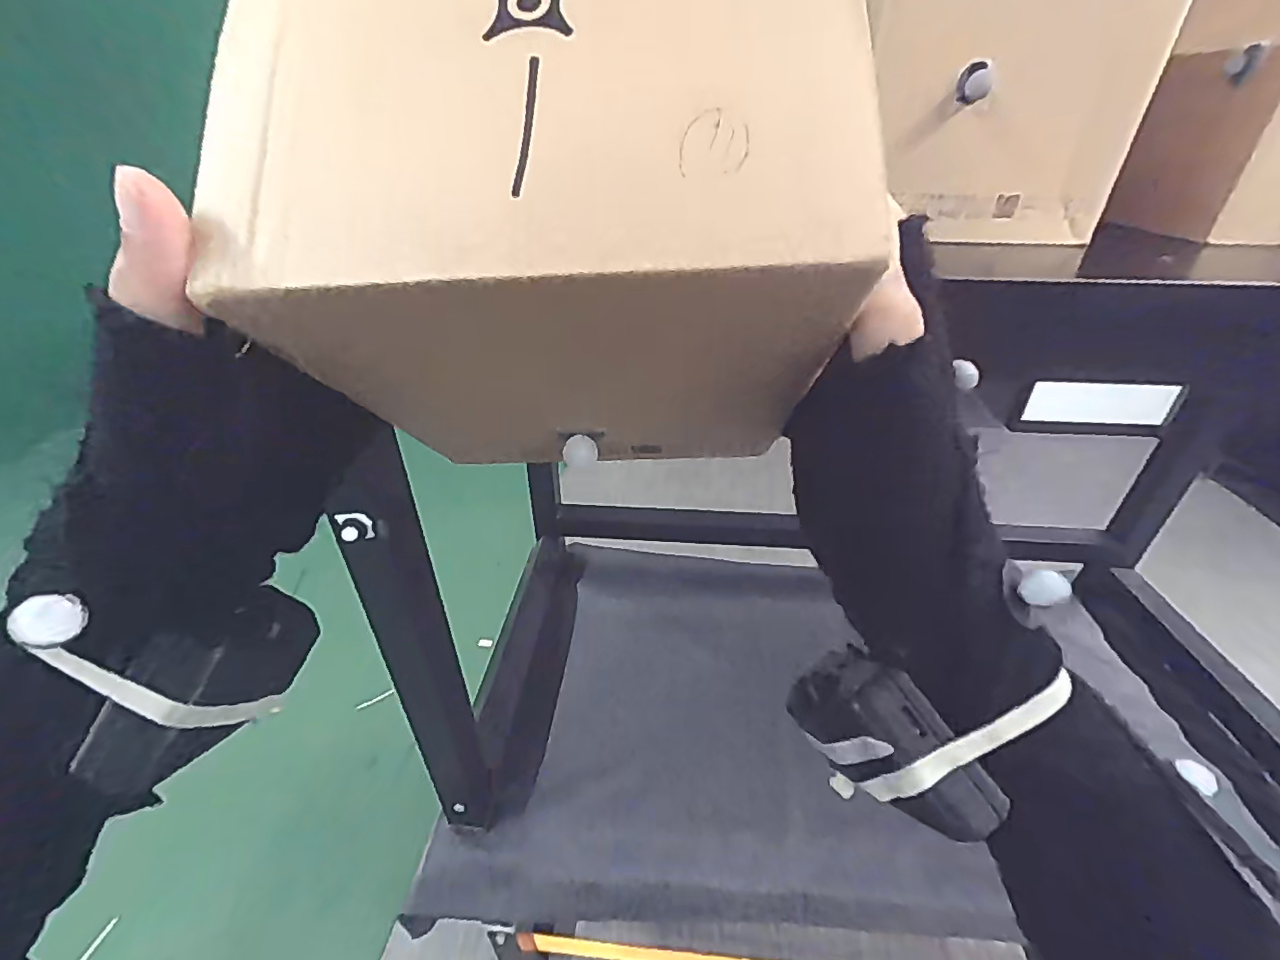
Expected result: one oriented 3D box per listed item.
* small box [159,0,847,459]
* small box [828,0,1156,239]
[{"bbox_3d":[-0.030,-0.114,0.221,0.168,0.179,0.176,-2,-11,4],"label":"small box"},{"bbox_3d":[0.227,-0.281,0.401,0.168,0.176,0.179,4,33,7],"label":"small box"}]
